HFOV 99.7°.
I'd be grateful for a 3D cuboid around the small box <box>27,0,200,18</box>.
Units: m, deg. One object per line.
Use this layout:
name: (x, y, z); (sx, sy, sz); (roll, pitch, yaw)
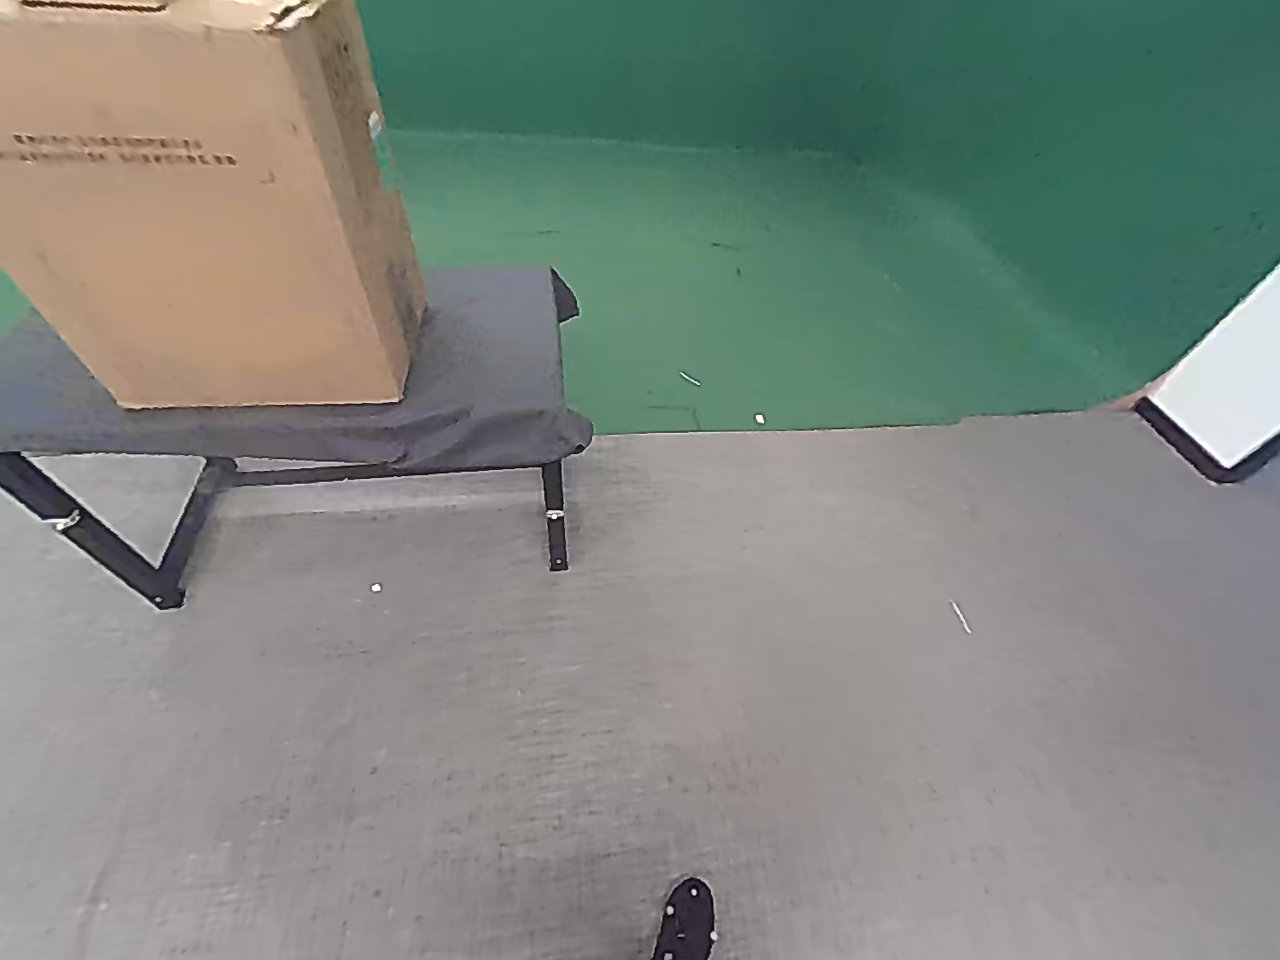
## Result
small box: (-0.680, -0.690, 0.659); (0.168, 0.176, 0.179); (-4, 50, -9)
